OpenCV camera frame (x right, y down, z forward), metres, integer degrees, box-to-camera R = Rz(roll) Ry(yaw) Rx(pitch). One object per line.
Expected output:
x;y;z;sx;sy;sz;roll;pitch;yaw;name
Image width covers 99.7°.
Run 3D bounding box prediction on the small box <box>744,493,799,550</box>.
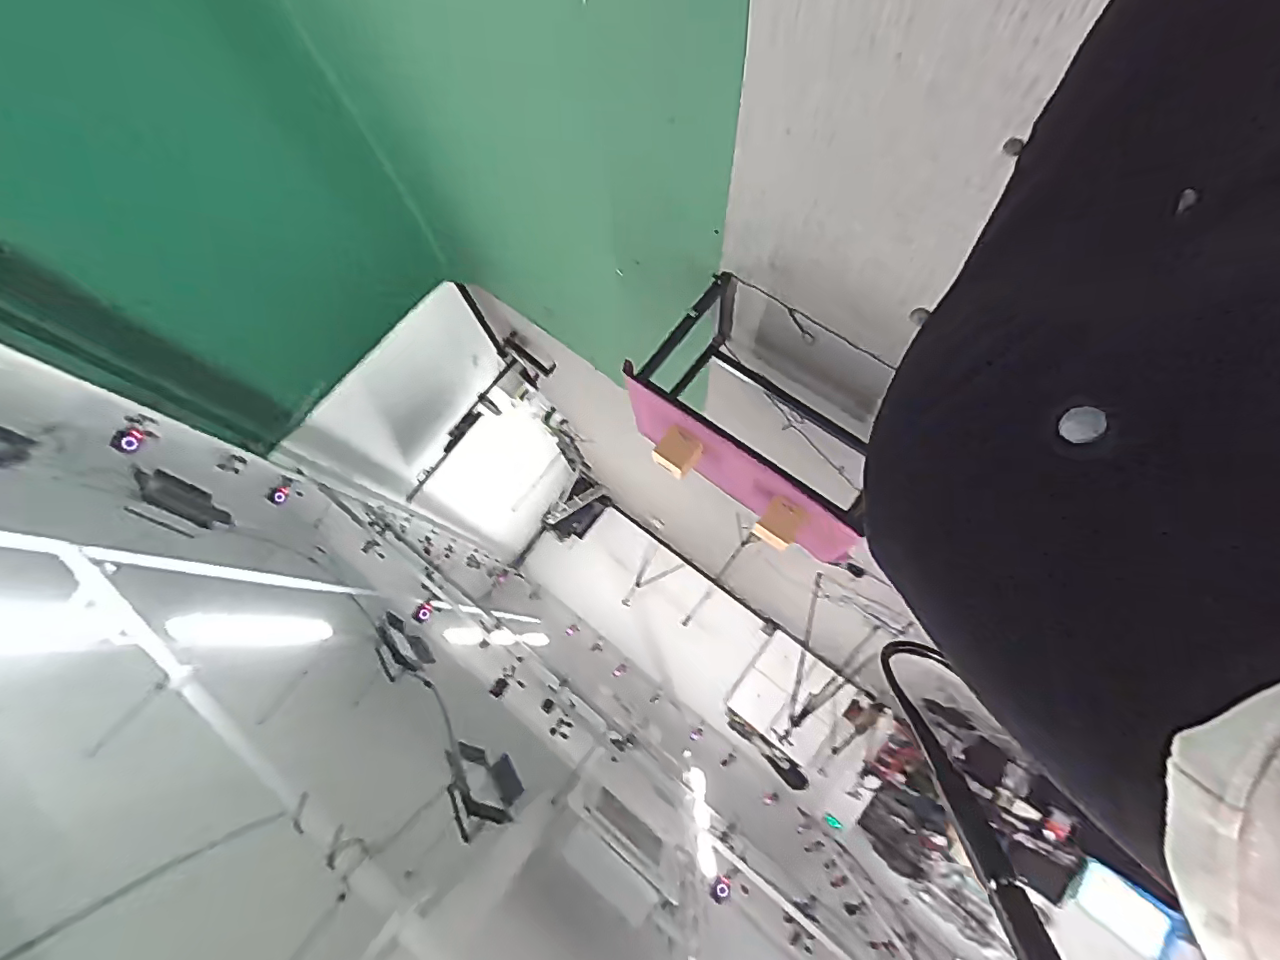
0.583;0.184;2.393;0.168;0.176;0.179;36;168;14;small box
